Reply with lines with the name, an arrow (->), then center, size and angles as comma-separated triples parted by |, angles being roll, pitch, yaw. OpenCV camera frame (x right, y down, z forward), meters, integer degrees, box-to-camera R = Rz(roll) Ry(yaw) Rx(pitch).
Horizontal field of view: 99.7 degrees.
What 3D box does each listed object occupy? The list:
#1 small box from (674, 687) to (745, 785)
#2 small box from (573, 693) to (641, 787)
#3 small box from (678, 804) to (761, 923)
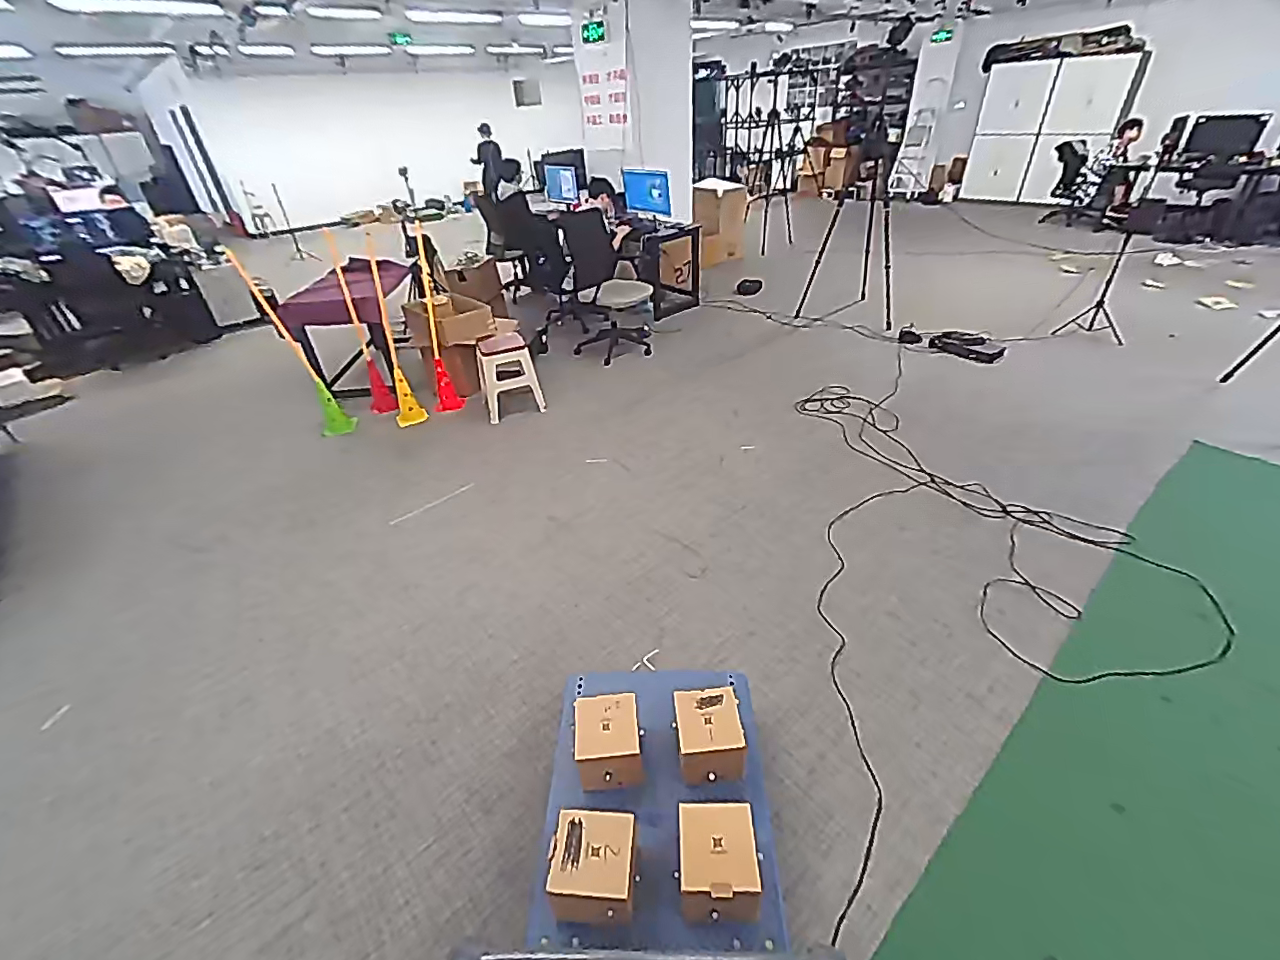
small box -> 0.182, 0.692, 1.463 | 0.168, 0.176, 0.179 | -5, 36, -1
small box -> -0.087, 0.708, 1.464 | 0.168, 0.176, 0.179 | -4, 35, -2
small box -> 0.172, 0.864, 1.222 | 0.168, 0.176, 0.179 | -2, 36, 2
